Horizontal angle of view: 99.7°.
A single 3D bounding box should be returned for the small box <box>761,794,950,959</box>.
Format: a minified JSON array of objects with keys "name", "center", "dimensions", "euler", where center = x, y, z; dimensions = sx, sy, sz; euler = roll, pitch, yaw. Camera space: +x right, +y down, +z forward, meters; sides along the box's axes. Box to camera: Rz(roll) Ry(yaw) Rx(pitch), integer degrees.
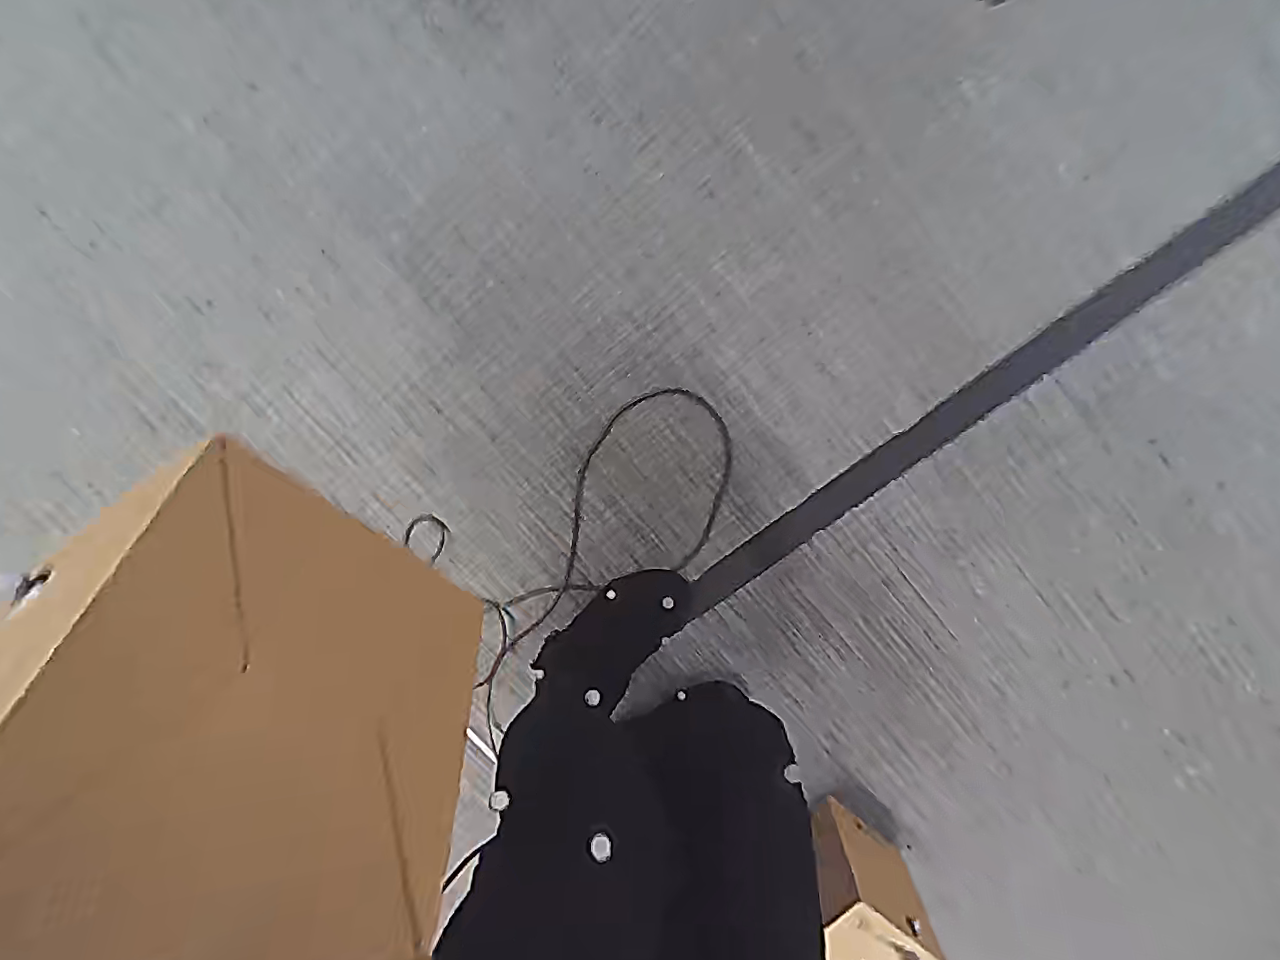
[{"name":"small box","center":[0.290,0.604,0.771],"dimensions":[0.168,0.176,0.179],"euler":[39,104,-6]}]
